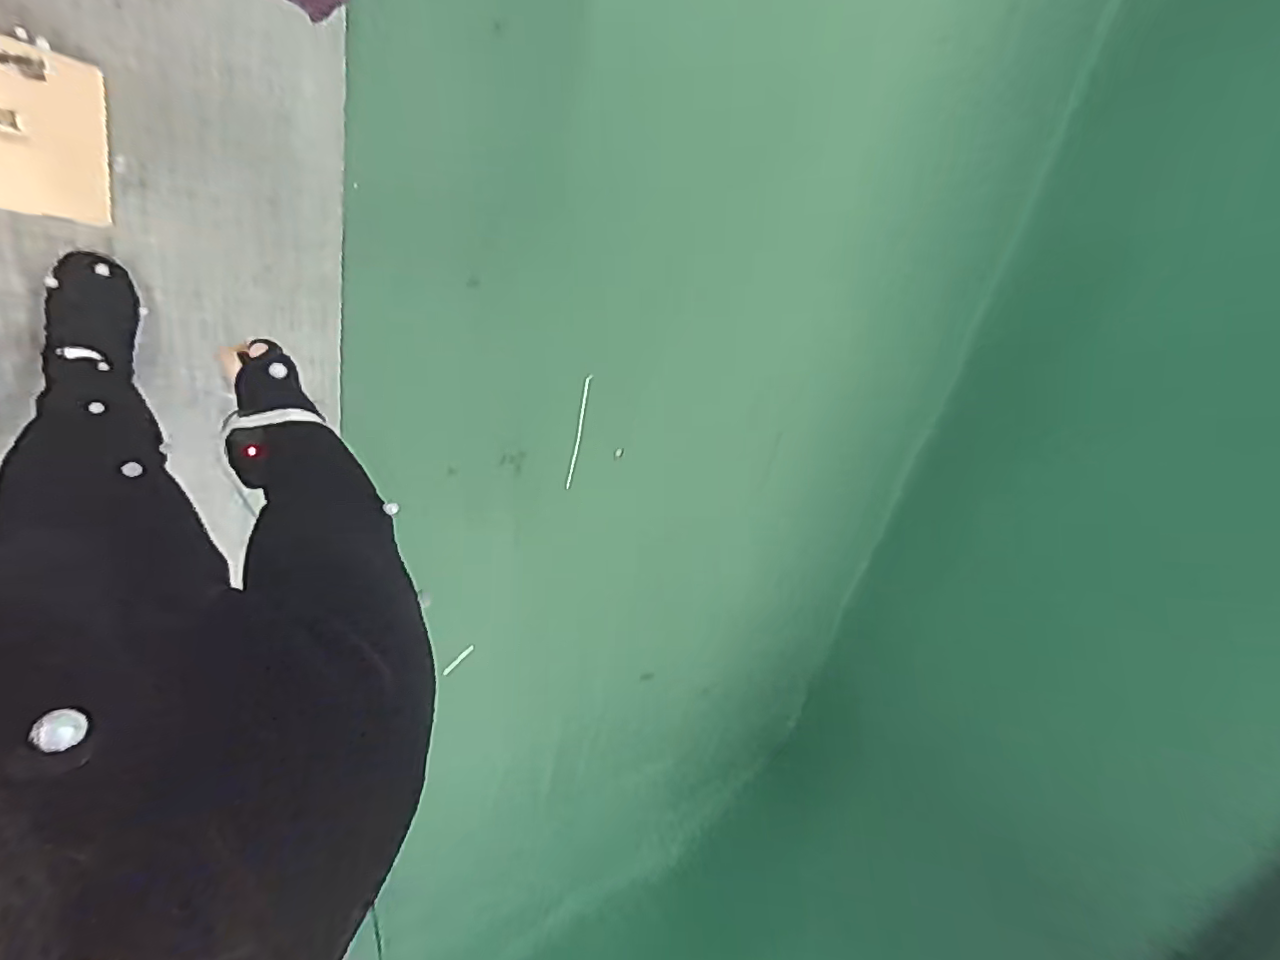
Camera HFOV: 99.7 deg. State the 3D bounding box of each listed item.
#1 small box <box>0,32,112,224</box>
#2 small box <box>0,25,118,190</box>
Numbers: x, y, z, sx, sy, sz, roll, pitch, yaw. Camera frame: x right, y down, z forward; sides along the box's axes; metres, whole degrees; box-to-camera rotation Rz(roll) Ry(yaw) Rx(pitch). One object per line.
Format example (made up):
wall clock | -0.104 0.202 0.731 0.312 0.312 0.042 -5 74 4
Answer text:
small box | -0.749 -0.426 0.639 0.168 0.176 0.179 -10 125 -42
small box | -0.844 -0.511 0.749 0.168 0.176 0.179 3 113 -43
